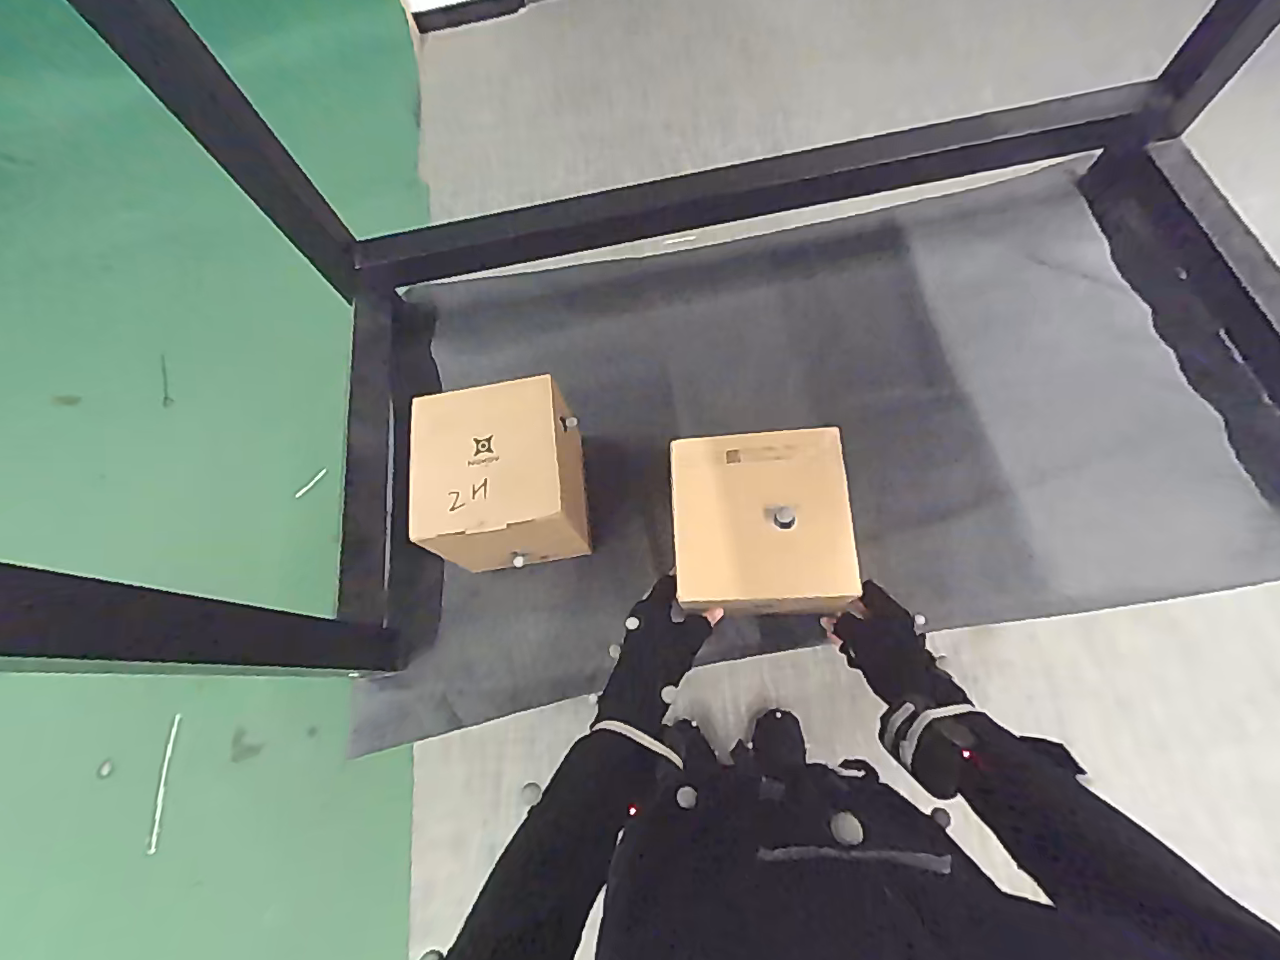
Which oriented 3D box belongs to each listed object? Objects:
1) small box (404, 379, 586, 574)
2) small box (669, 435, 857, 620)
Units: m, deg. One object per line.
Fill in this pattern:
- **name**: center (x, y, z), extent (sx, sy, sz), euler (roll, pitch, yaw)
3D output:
- **small box**: center (-0.167, 0.003, 0.666), extent (0.168, 0.176, 0.179), euler (-9, 67, 3)
- **small box**: center (0.124, 0.056, 0.593), extent (0.168, 0.179, 0.176), euler (-4, 70, 9)
